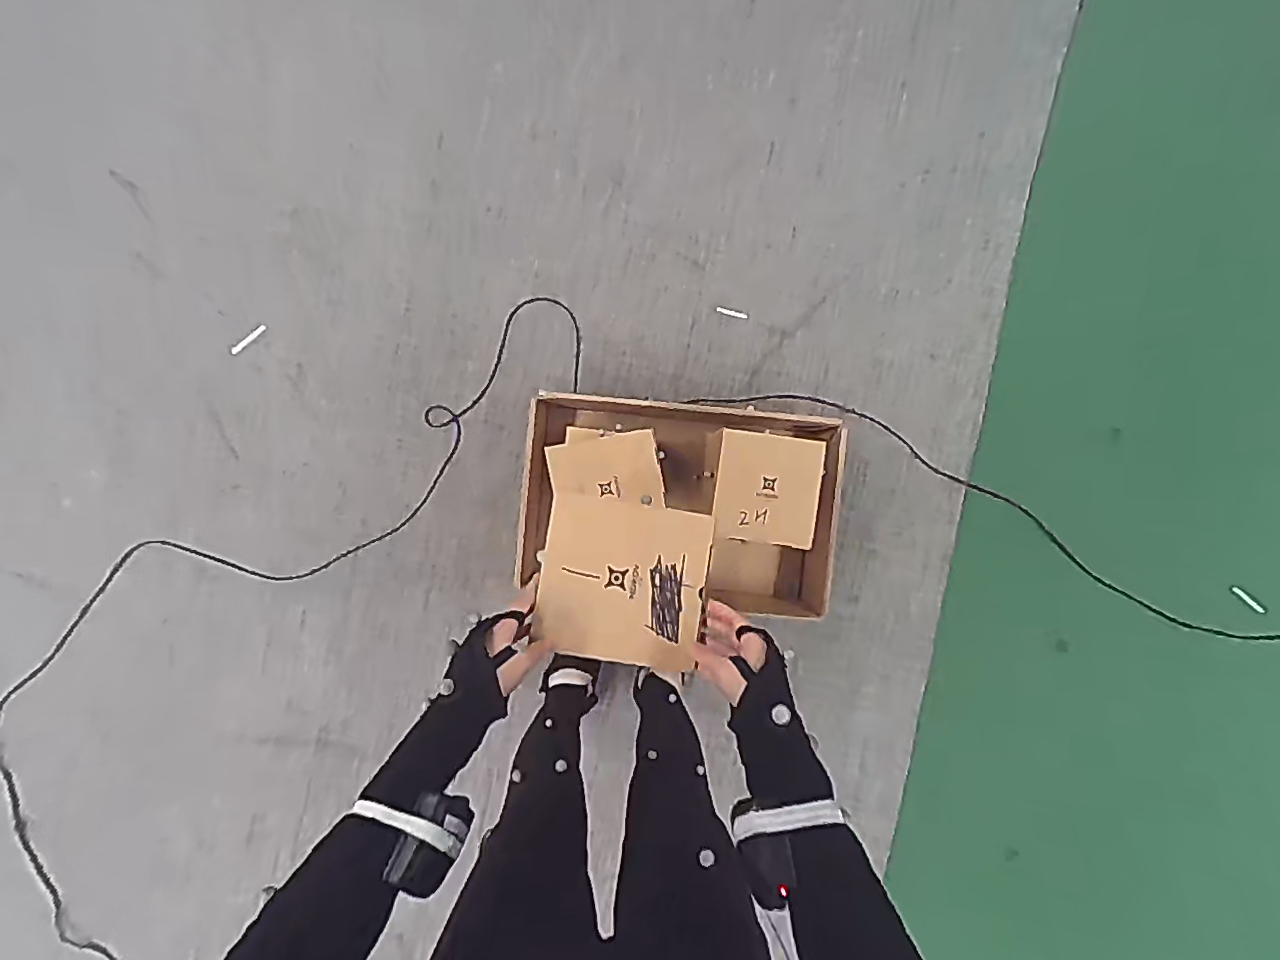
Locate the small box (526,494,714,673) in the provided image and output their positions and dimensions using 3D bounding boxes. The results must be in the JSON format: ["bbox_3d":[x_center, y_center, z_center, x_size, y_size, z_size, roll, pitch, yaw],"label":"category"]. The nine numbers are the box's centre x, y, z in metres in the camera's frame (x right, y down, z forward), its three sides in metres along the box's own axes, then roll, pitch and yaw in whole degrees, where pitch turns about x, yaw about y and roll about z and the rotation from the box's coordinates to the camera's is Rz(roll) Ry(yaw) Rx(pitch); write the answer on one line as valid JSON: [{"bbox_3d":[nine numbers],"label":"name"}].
[{"bbox_3d":[-0.025,0.114,0.645,0.179,0.176,0.168,10,84,-3],"label":"small box"}]

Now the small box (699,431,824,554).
[{"bbox_3d":[0.199,0.018,0.931,0.168,0.176,0.179,8,92,0],"label":"small box"}]

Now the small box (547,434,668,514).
[{"bbox_3d":[-0.052,0.014,0.934,0.179,0.176,0.168,-10,93,0],"label":"small box"}]

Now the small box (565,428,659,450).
[{"bbox_3d":[-0.061,-0.008,1.095,0.179,0.176,0.168,7,92,-1],"label":"small box"}]
